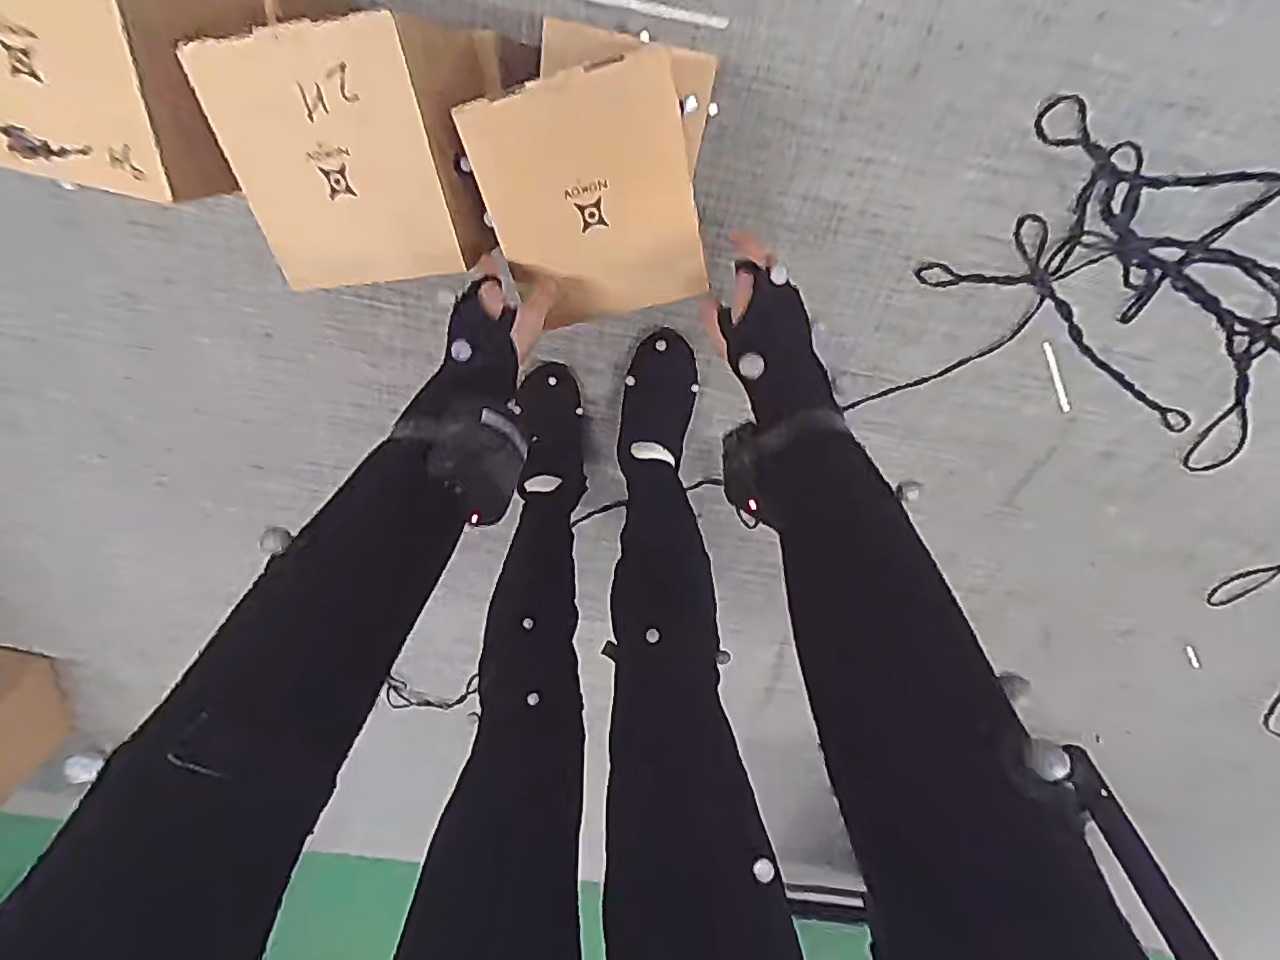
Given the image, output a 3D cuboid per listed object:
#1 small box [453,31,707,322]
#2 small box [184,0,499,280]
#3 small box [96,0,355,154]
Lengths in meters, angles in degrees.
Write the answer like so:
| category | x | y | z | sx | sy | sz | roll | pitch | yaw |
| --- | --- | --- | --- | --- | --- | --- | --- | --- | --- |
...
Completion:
| category | x | y | z | sx | sy | sz | roll | pitch | yaw |
| --- | --- | --- | --- | --- | --- | --- | --- | --- | --- |
| small box | -0.034 | -0.270 | 0.492 | 0.168 | 0.176 | 0.179 | -10 | 123 | 11 |
| small box | -0.230 | -0.297 | 0.487 | 0.168 | 0.176 | 0.179 | -4 | 124 | 6 |
| small box | -0.419 | -0.456 | 0.584 | 0.179 | 0.176 | 0.168 | 11 | 124 | -3 |
